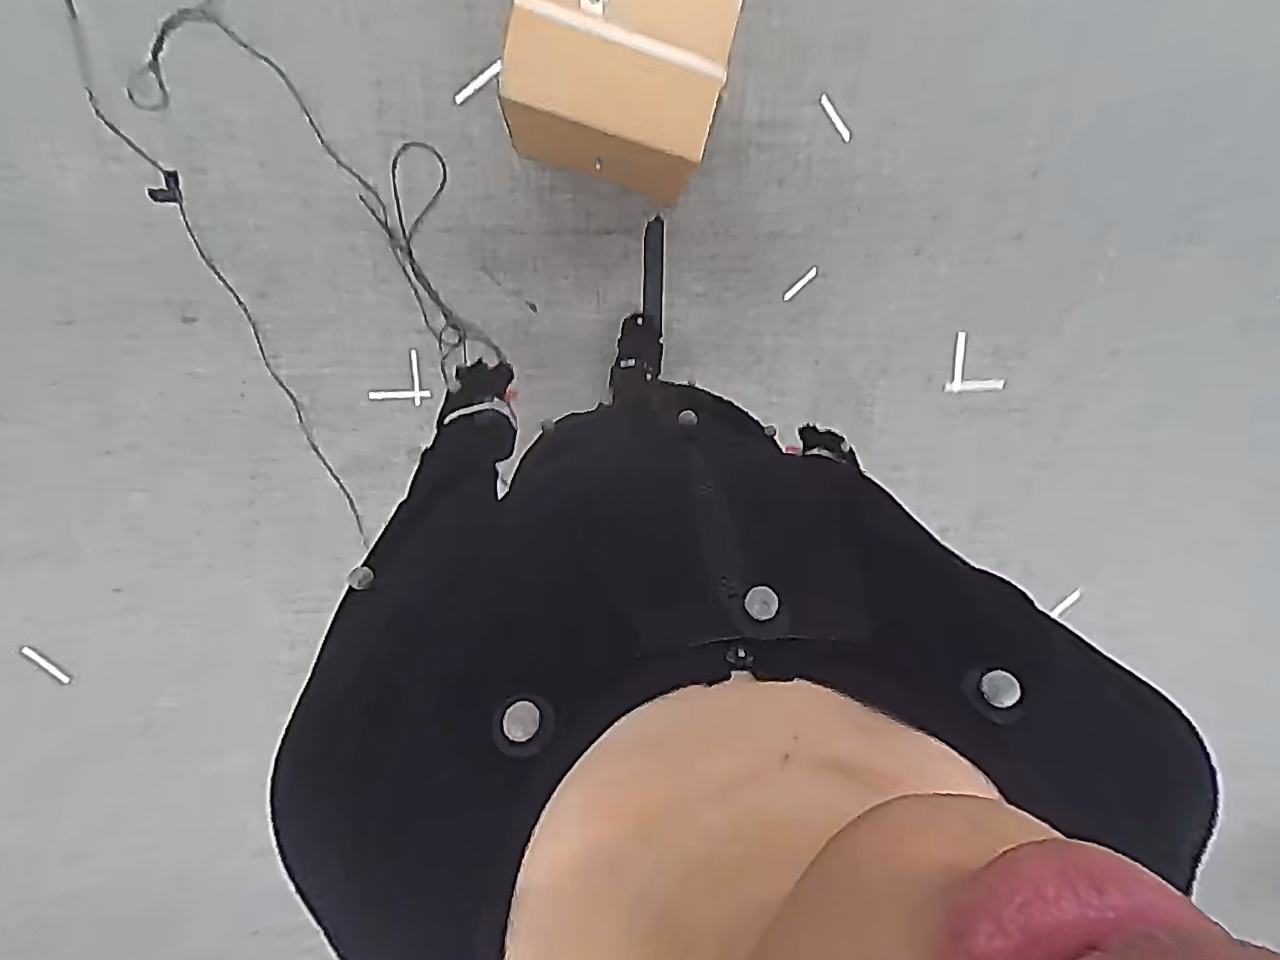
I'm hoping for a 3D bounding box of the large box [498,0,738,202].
[{"bbox_3d":[-0.051,-0.844,1.158,0.408,0.320,0.320,13,100,-8],"label":"large box"}]
